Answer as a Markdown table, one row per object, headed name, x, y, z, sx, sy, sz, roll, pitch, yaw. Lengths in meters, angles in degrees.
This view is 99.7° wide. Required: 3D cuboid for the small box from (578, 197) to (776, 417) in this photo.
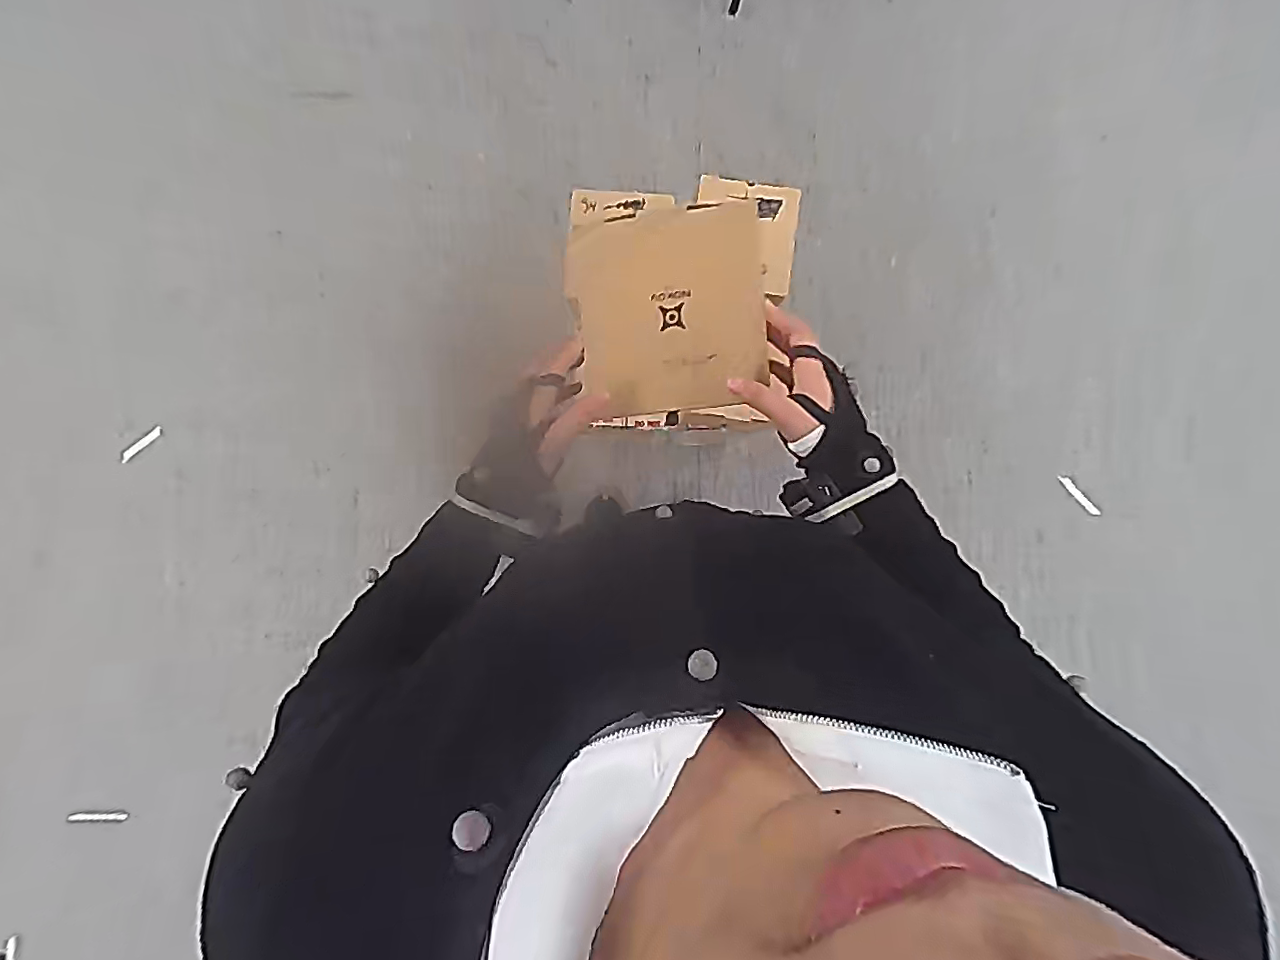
| name | x | y | z | sx | sy | sz | roll | pitch | yaw |
| --- | --- | --- | --- | --- | --- | --- | --- | --- | --- |
| small box | 0.039 | -0.159 | 0.553 | 0.168 | 0.176 | 0.179 | -5 | 99 | 6 |
